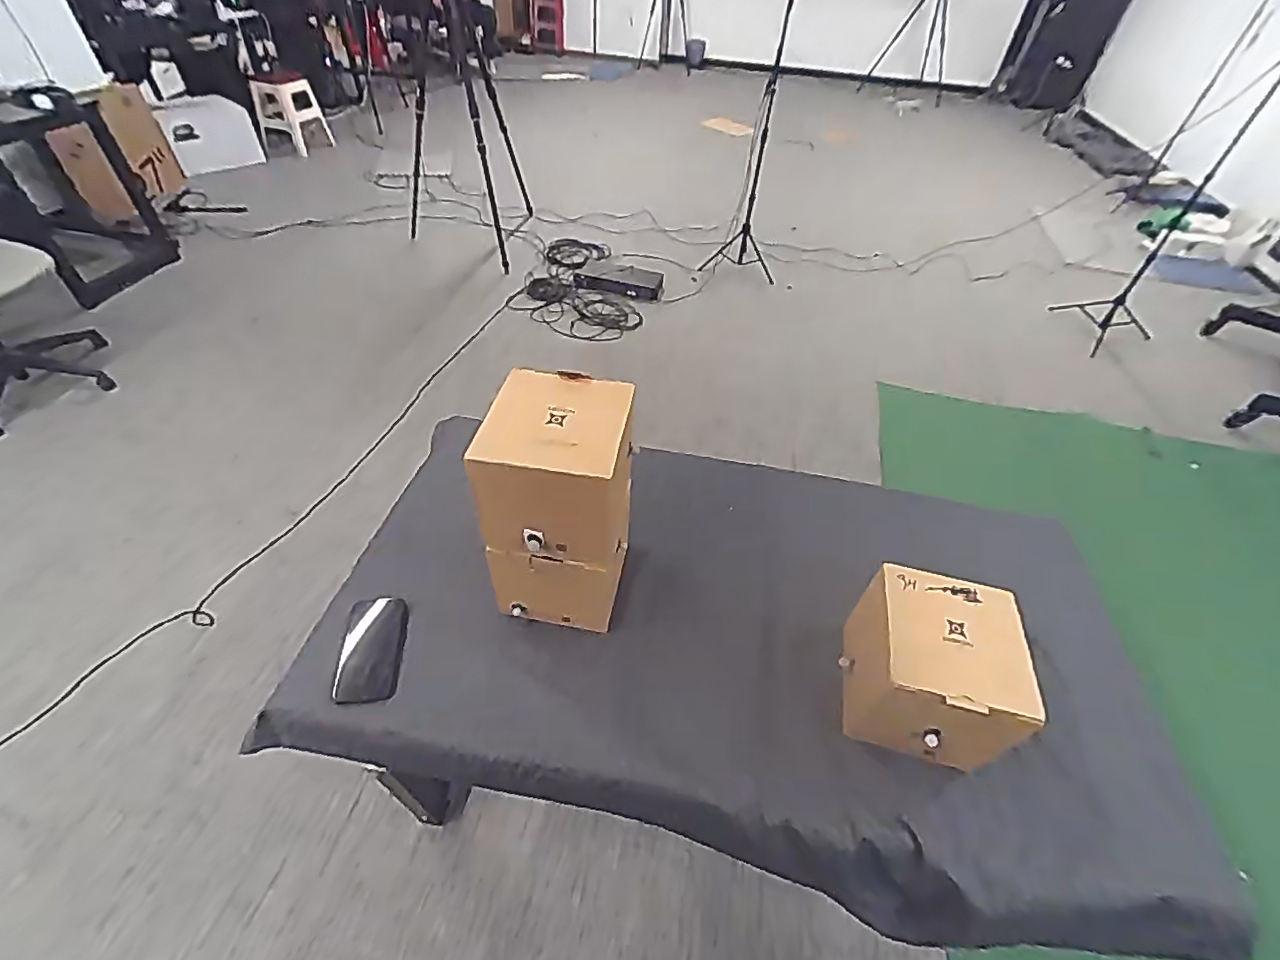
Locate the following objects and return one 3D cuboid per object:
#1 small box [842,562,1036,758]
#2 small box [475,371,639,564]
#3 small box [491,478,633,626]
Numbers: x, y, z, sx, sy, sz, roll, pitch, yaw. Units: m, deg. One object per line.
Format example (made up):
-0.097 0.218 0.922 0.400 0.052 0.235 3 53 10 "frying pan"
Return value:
0.379 0.243 0.724 0.168 0.176 0.179 13 47 8 "small box"
-0.097 -0.016 0.706 0.168 0.176 0.179 7 47 3 "small box"
-0.107 0.098 0.821 0.168 0.176 0.179 9 45 4 "small box"
